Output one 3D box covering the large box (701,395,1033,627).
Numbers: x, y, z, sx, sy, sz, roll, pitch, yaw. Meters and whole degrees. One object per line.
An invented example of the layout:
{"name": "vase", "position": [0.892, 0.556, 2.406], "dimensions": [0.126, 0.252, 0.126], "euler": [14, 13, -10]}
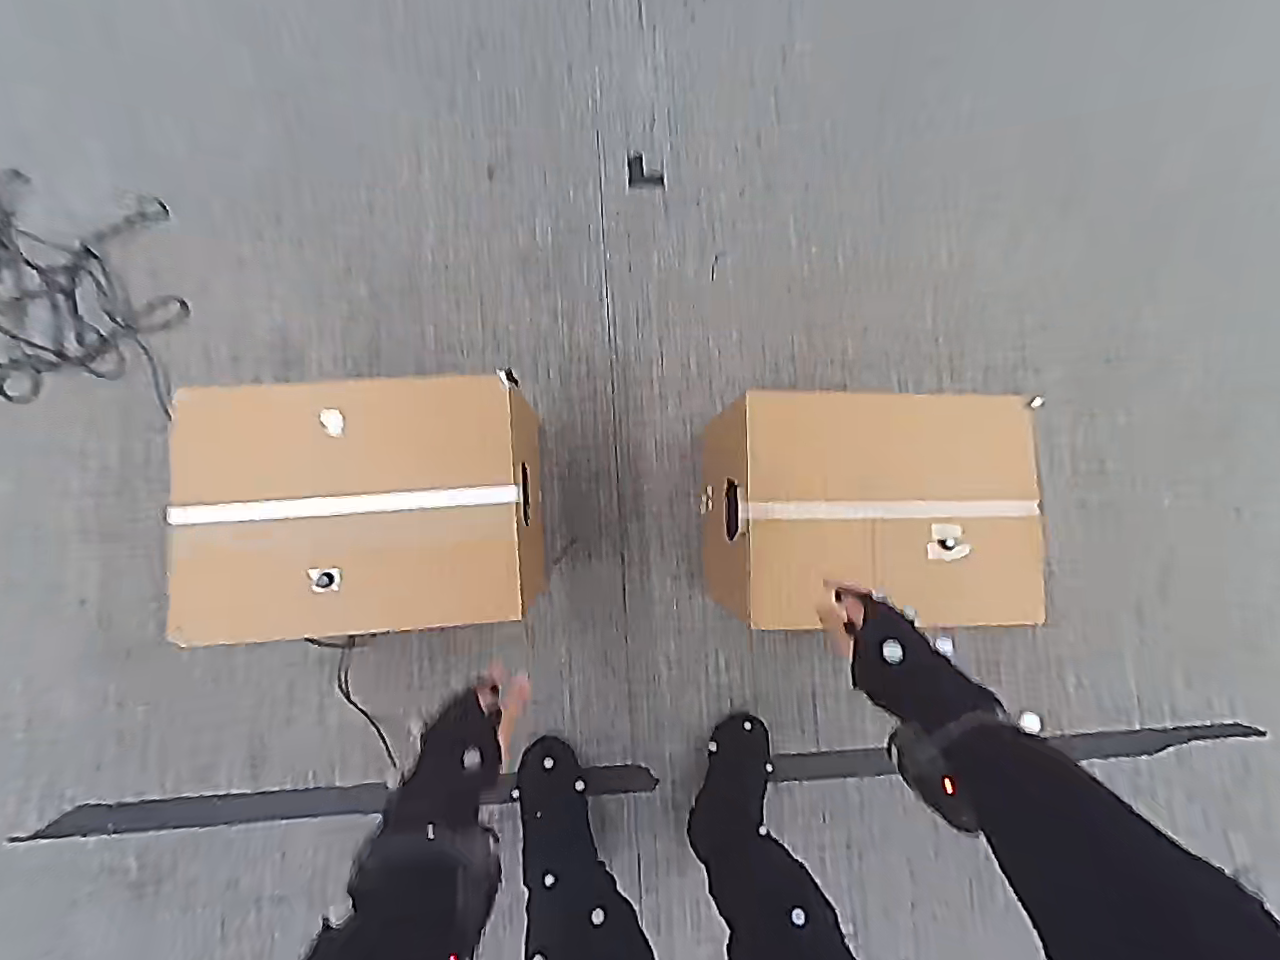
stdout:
{"name": "large box", "position": [0.328, 0.052, 0.885], "dimensions": [0.408, 0.320, 0.320], "euler": [1, 86, -5]}
